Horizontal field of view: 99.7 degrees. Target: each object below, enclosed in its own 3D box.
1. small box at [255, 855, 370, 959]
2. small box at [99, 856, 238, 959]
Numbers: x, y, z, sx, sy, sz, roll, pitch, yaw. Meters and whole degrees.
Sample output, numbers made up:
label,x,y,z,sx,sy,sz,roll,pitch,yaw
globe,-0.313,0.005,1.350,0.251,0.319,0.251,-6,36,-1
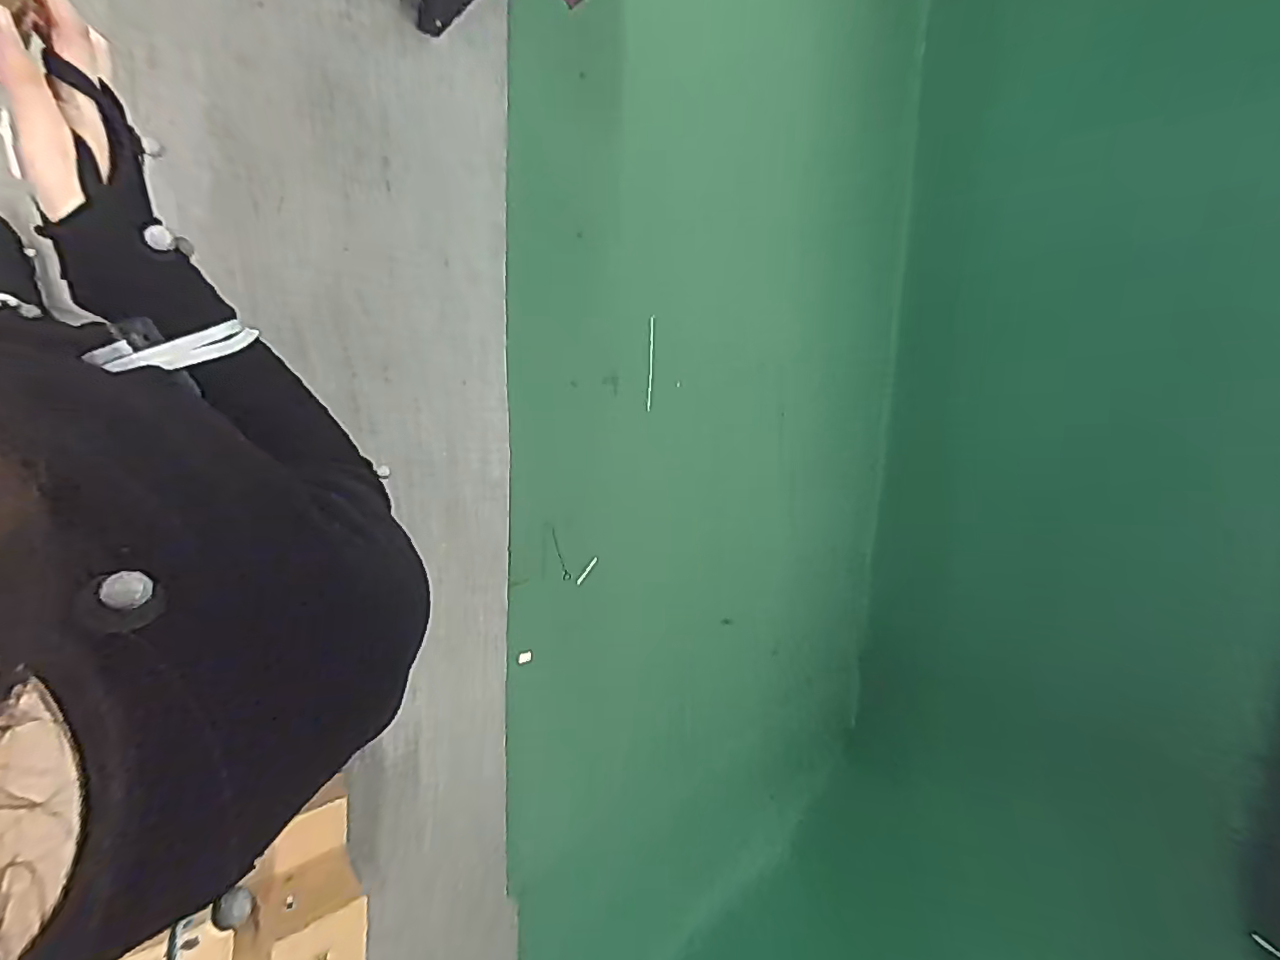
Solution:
label,x,y,z,sx,sy,sz,roll,pitch,yaw
small box,-0.666,0.910,1.097,0.168,0.176,0.179,-2,100,-45
small box,-0.808,0.806,0.926,0.168,0.176,0.179,2,97,-45
